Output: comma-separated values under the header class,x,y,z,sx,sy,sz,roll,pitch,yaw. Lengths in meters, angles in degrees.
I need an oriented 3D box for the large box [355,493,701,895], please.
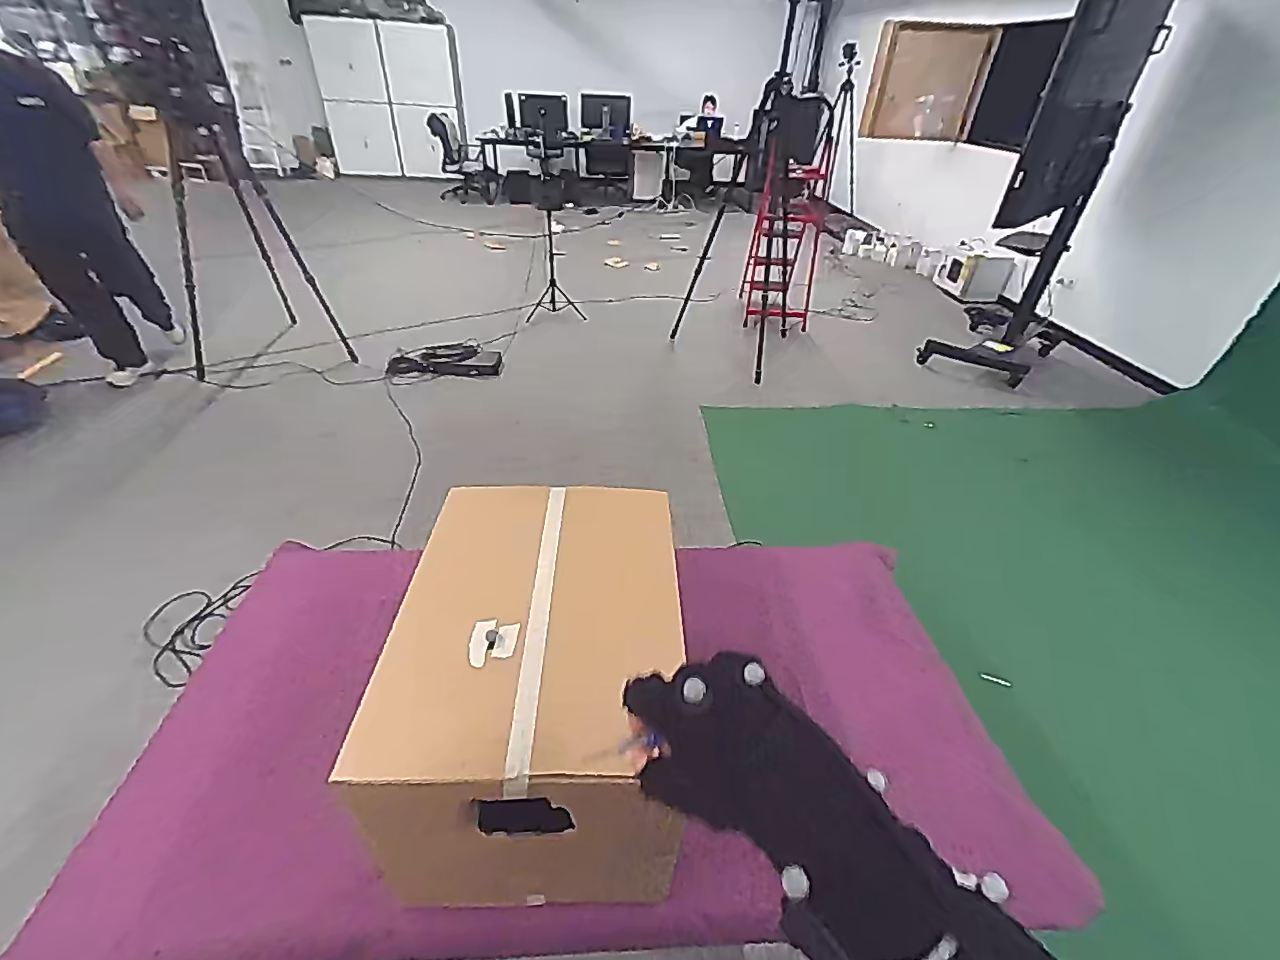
class,x,y,z,sx,sy,sz,roll,pitch,yaw
large box,-0.114,0.264,0.721,0.320,0.320,0.408,2,37,-3
